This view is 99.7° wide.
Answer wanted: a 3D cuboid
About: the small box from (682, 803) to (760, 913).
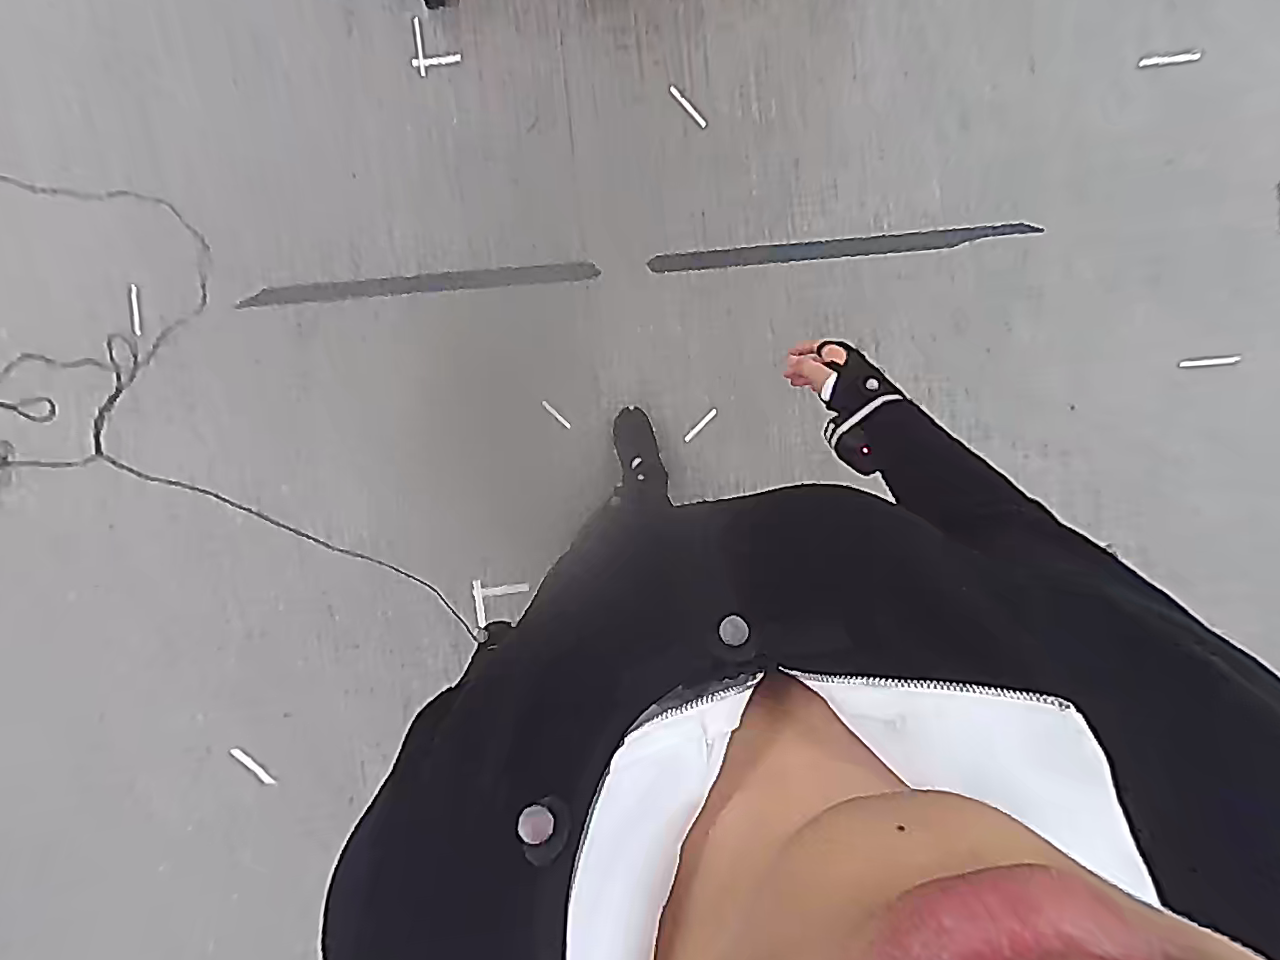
[{"bbox_3d":[0.192,0.928,1.319,0.168,0.176,0.179,-7,91,2],"label":"small box"}]
